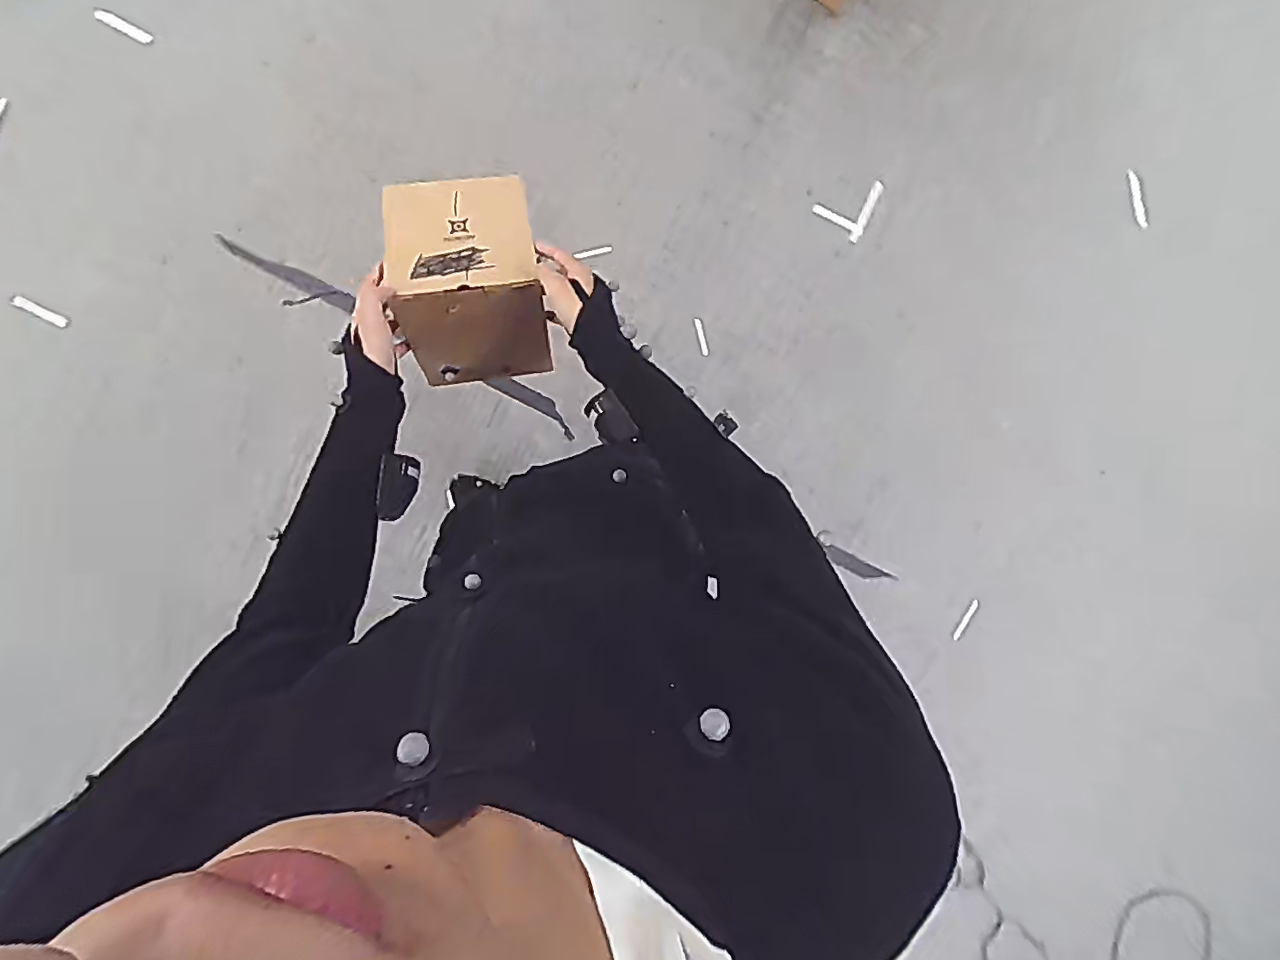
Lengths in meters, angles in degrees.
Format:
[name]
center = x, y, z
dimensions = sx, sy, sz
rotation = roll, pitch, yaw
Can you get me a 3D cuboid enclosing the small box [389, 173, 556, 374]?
[small box]
center = -0.203, -0.249, 0.685
dimensions = 0.168, 0.176, 0.179
rotation = -9, 66, -8
